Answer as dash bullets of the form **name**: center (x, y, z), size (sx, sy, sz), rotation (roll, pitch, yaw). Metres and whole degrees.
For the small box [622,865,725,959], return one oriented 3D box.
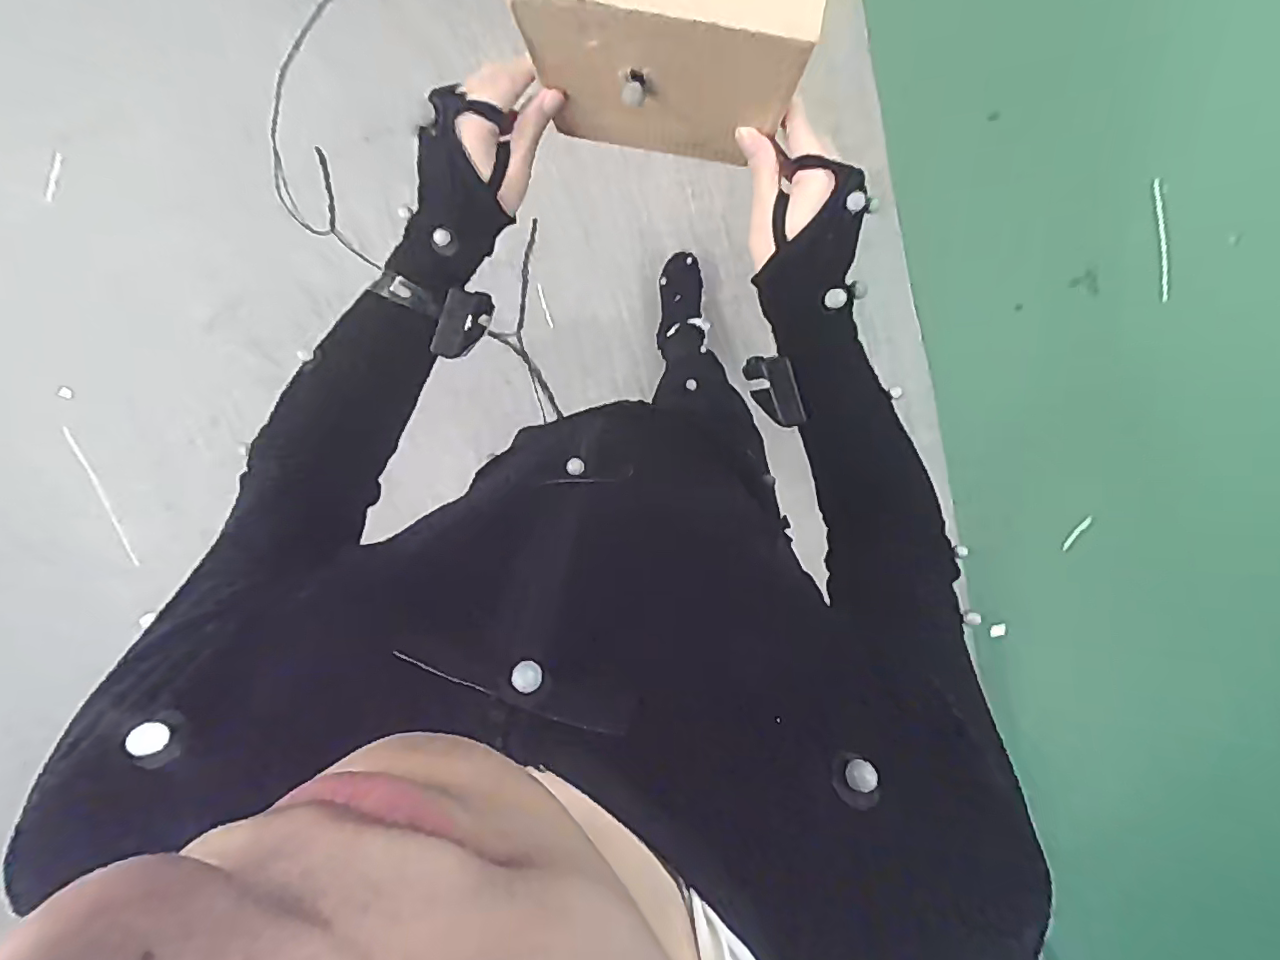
- **small box**: center (0.066, 0.887, 1.044), size (0.179, 0.176, 0.168), rotation (-13, 102, 4)

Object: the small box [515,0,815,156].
- **small box**: center (0.023, -0.341, 0.353), size (0.179, 0.176, 0.168), rotation (10, 99, 2)

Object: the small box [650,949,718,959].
- **small box**: center (0.062, 0.926, 0.885), size (0.179, 0.176, 0.168), rotation (-15, 103, 3)
